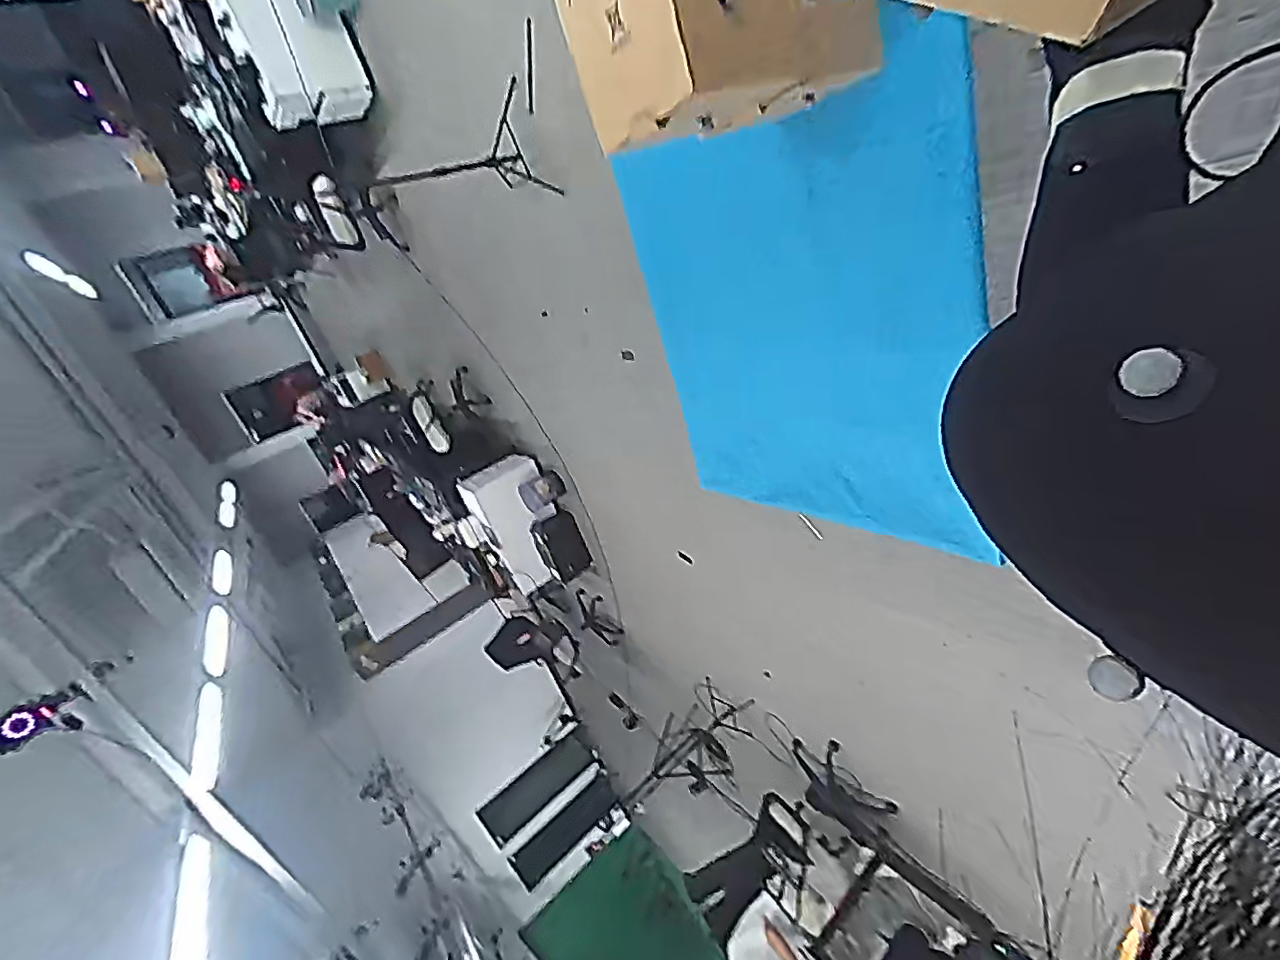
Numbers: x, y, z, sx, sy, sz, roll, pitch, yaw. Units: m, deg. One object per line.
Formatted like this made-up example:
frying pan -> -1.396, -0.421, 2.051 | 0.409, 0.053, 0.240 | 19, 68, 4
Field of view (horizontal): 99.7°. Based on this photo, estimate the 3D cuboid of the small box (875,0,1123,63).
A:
small box -> 0.197, -0.340, 0.252 | 0.179, 0.176, 0.168 | 39, 154, 19

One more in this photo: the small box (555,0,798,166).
small box -> 0.043, -0.474, 0.578 | 0.168, 0.176, 0.179 | 10, 126, 56

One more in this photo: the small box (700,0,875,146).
small box -> 0.163, -0.546, 0.660 | 0.168, 0.176, 0.179 | 14, 131, 53
